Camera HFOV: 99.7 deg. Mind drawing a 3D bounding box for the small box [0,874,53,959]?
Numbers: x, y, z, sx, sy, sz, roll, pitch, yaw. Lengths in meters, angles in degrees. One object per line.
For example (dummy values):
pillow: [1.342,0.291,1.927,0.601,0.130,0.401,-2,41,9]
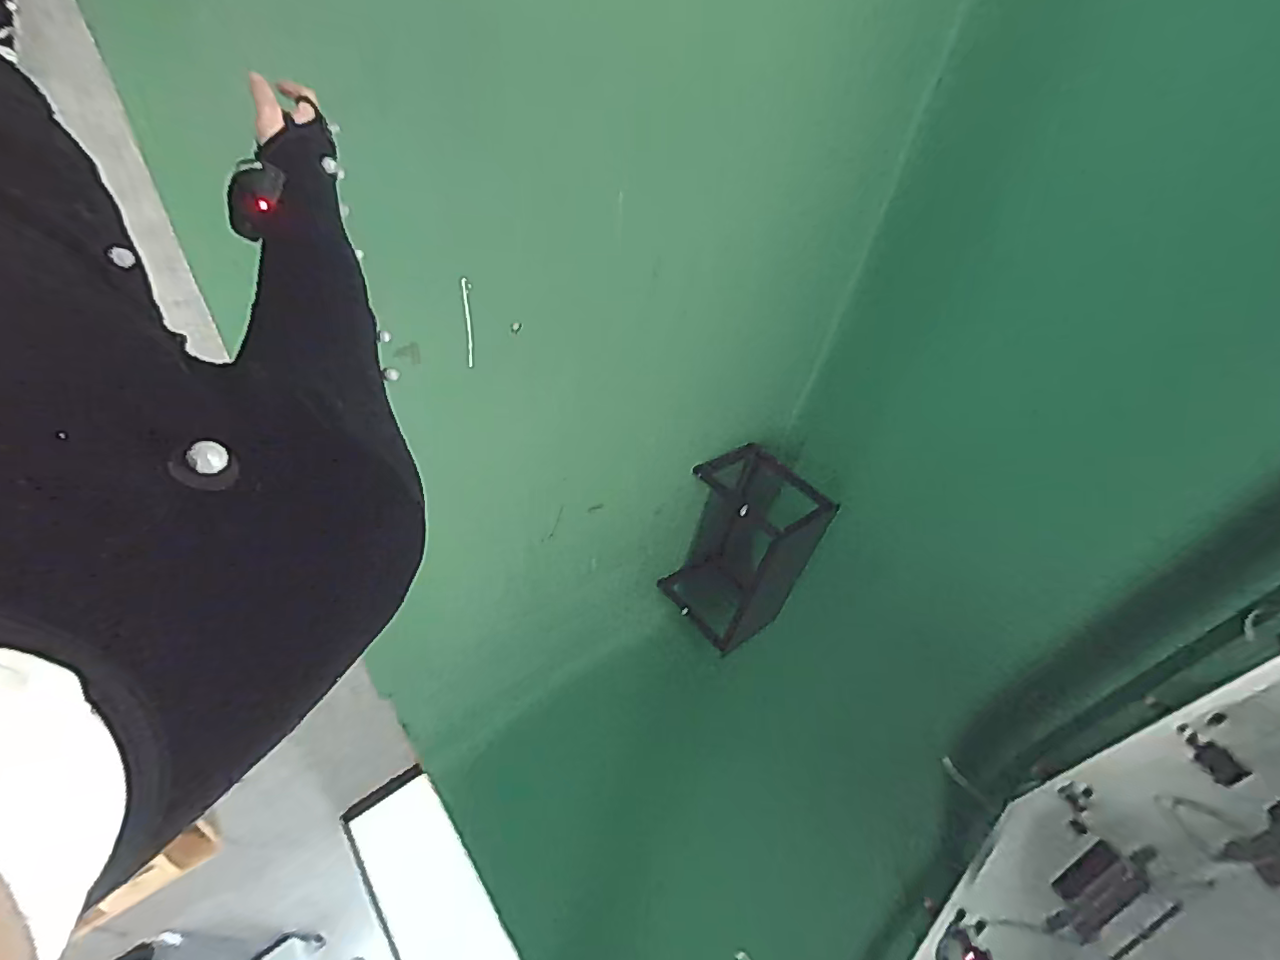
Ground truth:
small box: [-1.646,1.156,1.376,0.168,0.176,0.179,-21,139,-36]
